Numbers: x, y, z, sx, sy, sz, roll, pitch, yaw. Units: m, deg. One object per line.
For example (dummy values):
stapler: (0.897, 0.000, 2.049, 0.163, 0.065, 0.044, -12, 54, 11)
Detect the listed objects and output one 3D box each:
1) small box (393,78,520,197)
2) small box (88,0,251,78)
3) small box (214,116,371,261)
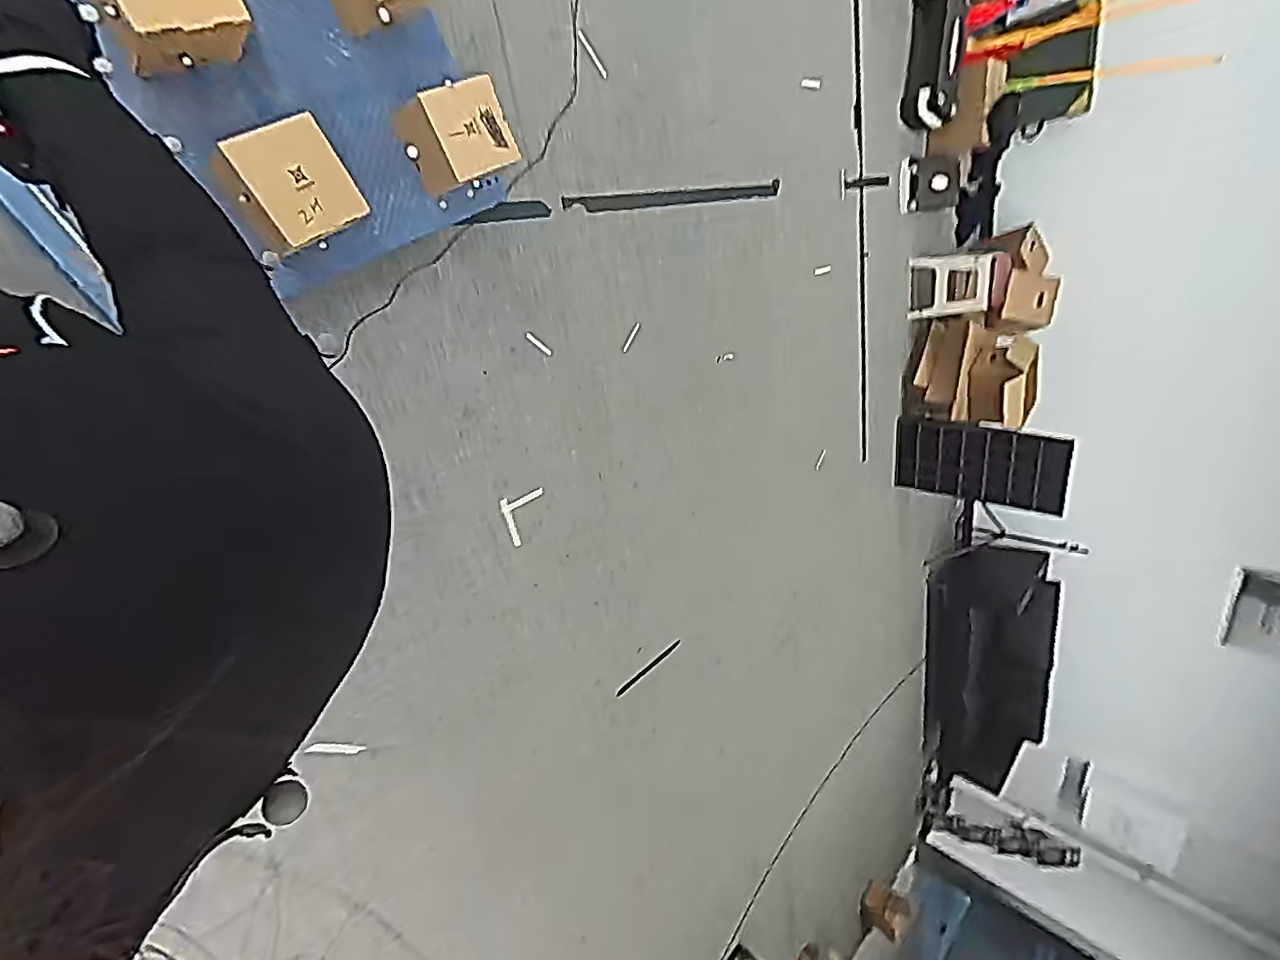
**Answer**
small box: (-0.407, -0.751, 1.195, 0.179, 0.176, 0.168, -41, 125, -28)
small box: (-0.766, -0.776, 0.852, 0.168, 0.176, 0.179, -41, 126, -30)
small box: (-0.653, -0.536, 1.012, 0.168, 0.176, 0.179, -45, 126, -27)
